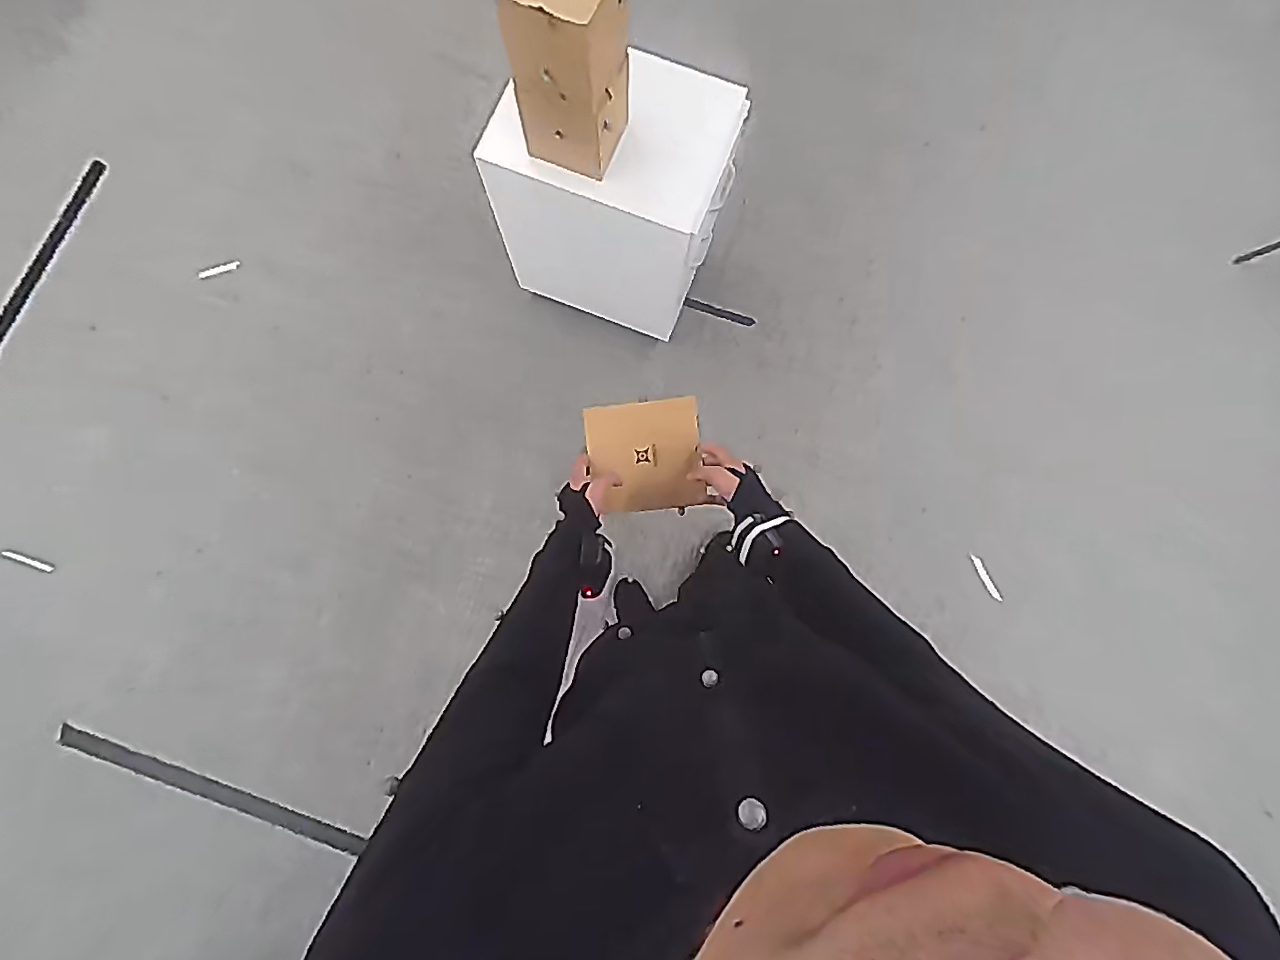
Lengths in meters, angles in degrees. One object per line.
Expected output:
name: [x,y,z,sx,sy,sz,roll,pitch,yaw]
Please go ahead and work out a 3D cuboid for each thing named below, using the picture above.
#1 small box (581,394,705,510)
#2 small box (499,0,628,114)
small box: [0.004,-0.040,0.898,0.179,0.176,0.168,-7,90,-2]
small box: [-0.127,-0.803,0.951,0.168,0.176,0.179,23,80,3]
